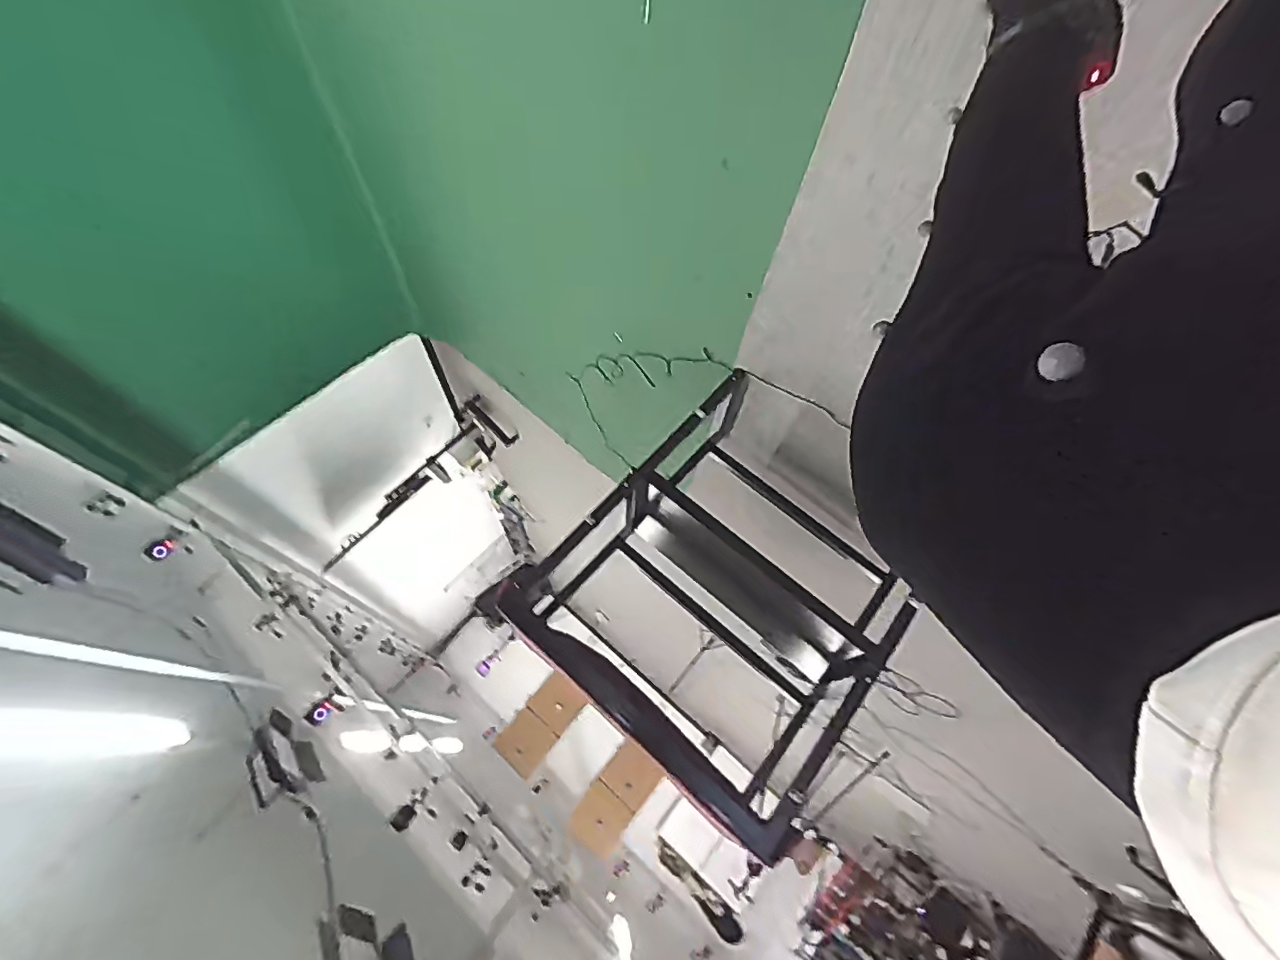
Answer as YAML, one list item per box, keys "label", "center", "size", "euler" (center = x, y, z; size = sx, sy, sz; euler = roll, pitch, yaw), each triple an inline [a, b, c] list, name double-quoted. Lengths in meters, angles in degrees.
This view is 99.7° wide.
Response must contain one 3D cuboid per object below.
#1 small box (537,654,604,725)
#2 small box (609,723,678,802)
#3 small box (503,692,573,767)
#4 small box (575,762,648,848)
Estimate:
- label: "small box"
  center: [-0.247, 0.762, 1.965]
  size: [0.179, 0.176, 0.168]
  euler: [39, 159, 12]
- label: "small box"
  center: [0.012, 0.969, 1.868]
  size: [0.179, 0.176, 0.168]
  euler: [40, 159, 13]
- label: "small box"
  center: [-0.351, 0.874, 1.909]
  size: [0.179, 0.176, 0.168]
  euler: [41, 159, 11]
- label: "small box"
  center: [-0.097, 1.078, 1.811]
  size: [0.179, 0.176, 0.168]
  euler: [39, 159, 13]
